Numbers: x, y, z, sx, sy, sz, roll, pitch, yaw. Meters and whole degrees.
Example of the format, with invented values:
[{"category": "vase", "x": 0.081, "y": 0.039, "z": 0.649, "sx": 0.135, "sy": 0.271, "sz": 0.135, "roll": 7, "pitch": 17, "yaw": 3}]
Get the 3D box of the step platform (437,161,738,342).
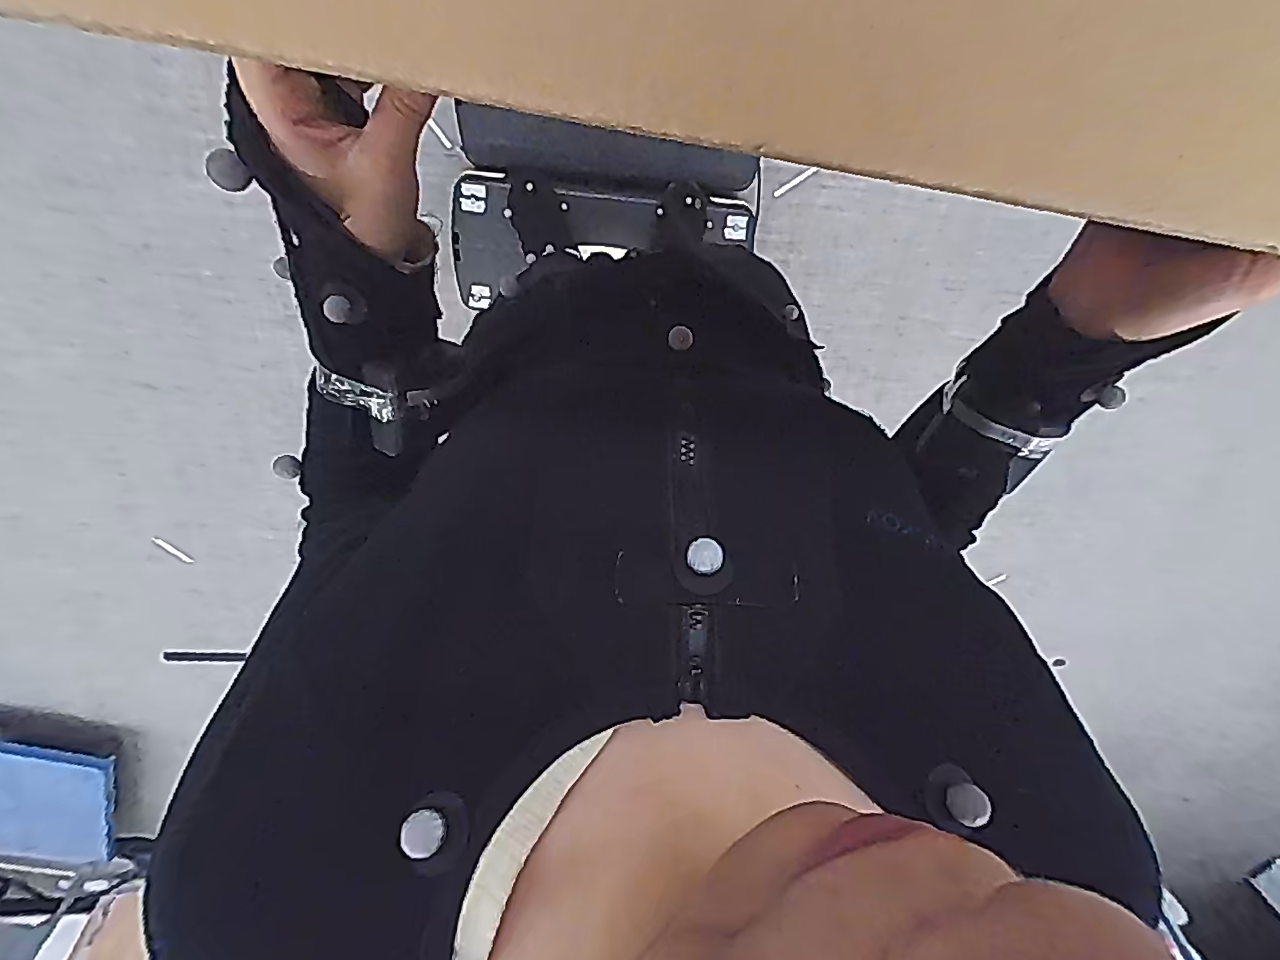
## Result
[{"category": "step platform", "x": -0.117, "y": -0.529, "z": 1.279, "sx": 0.684, "sy": 0.204, "sz": 0.286, "roll": 8, "pitch": 121, "yaw": -7}]
